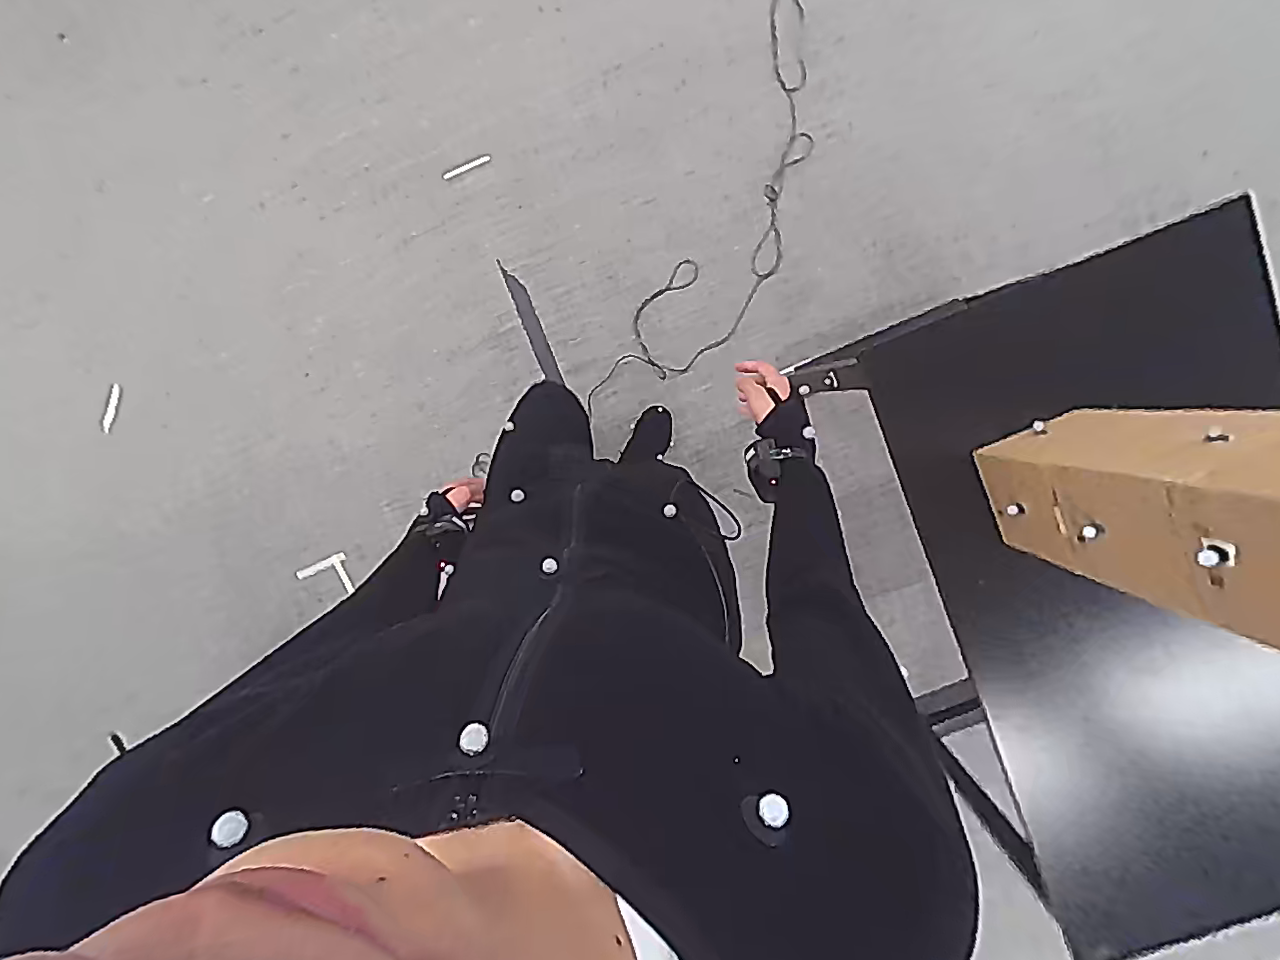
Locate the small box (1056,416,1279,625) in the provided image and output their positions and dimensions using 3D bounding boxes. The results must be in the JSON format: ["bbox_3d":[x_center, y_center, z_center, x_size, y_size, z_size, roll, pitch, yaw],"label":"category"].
[{"bbox_3d":[0.637,0.032,0.616,0.179,0.176,0.168,-23,96,5],"label":"small box"}]

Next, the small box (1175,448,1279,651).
[{"bbox_3d":[0.631,0.055,0.455,0.179,0.176,0.168,-23,95,5],"label":"small box"}]

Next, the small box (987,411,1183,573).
[{"bbox_3d":[0.641,0.009,0.779,0.179,0.176,0.168,-24,97,6],"label":"small box"}]
